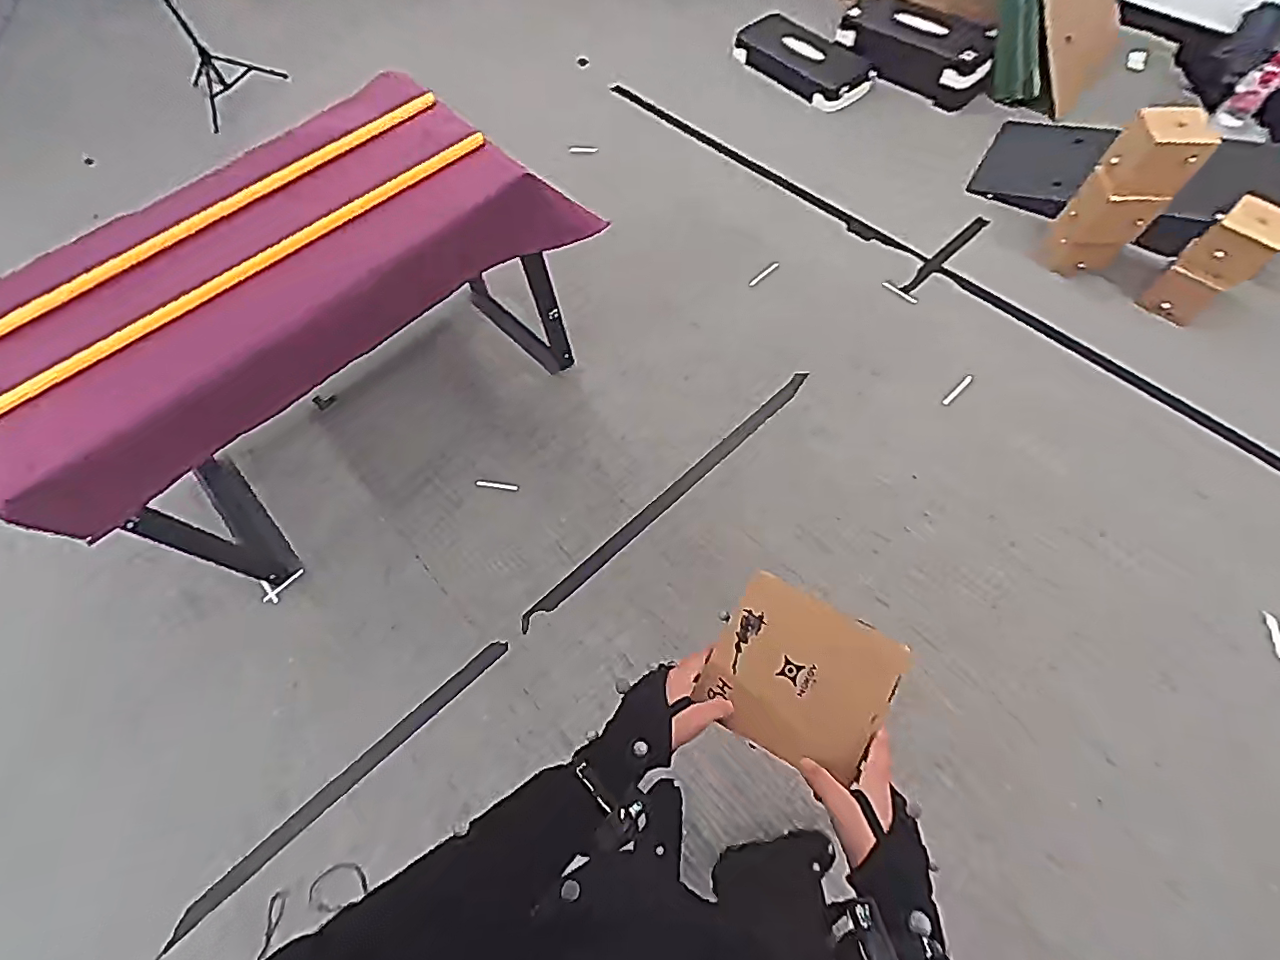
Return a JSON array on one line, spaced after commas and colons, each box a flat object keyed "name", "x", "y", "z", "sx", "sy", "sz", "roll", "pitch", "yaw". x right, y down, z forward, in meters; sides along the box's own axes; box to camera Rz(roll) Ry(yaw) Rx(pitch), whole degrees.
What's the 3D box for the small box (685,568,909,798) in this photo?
[{"name": "small box", "x": 0.172, "y": 0.222, "z": 0.629, "sx": 0.179, "sy": 0.176, "sz": 0.168, "roll": 27, "pitch": 79, "yaw": 17}]
